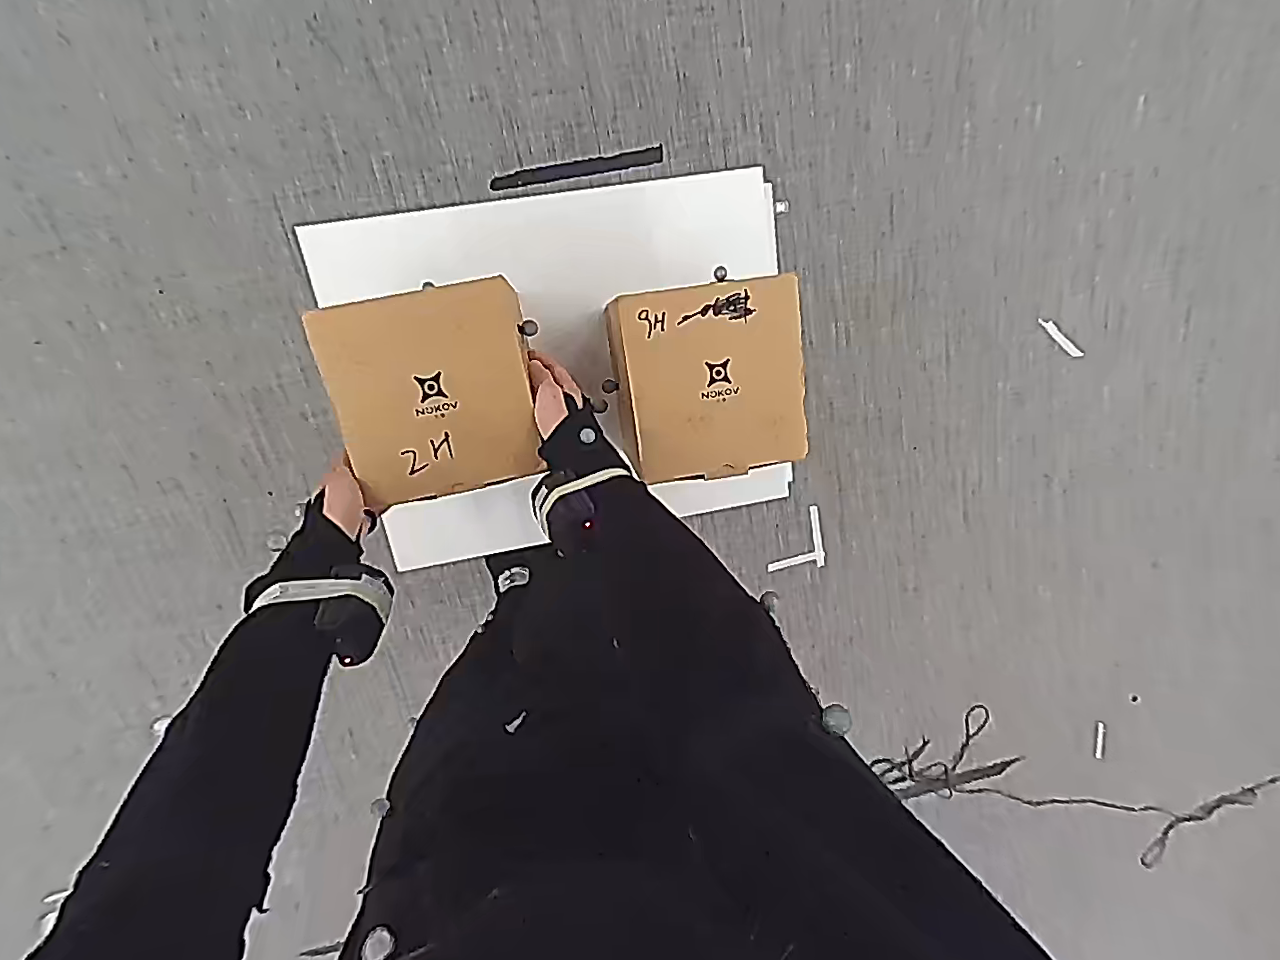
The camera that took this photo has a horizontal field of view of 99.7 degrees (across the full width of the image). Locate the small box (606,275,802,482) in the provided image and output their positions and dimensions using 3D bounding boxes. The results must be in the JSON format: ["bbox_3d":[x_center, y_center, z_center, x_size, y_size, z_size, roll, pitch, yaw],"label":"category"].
[{"bbox_3d":[0.059,-0.113,0.574,0.168,0.176,0.179,-9,107,-6],"label":"small box"}]

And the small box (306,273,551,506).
[{"bbox_3d":[-0.189,-0.094,0.541,0.168,0.176,0.179,-13,106,-5],"label":"small box"}]
